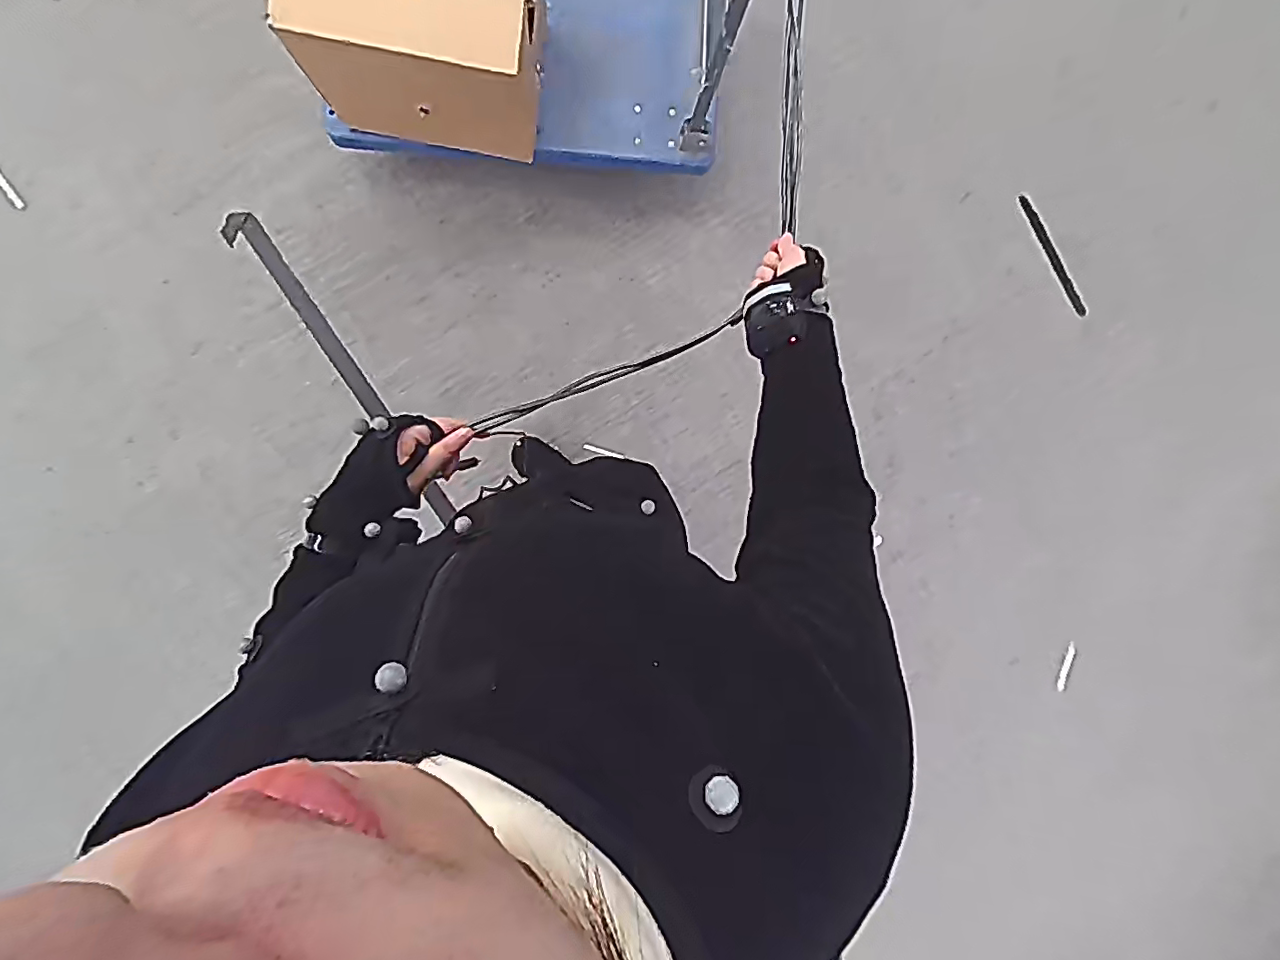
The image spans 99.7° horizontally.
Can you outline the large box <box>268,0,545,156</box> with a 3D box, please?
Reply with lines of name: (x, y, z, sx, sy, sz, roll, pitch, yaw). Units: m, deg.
large box: (-0.401, -0.871, 1.026, 0.408, 0.320, 0.320, 6, 94, -6)
